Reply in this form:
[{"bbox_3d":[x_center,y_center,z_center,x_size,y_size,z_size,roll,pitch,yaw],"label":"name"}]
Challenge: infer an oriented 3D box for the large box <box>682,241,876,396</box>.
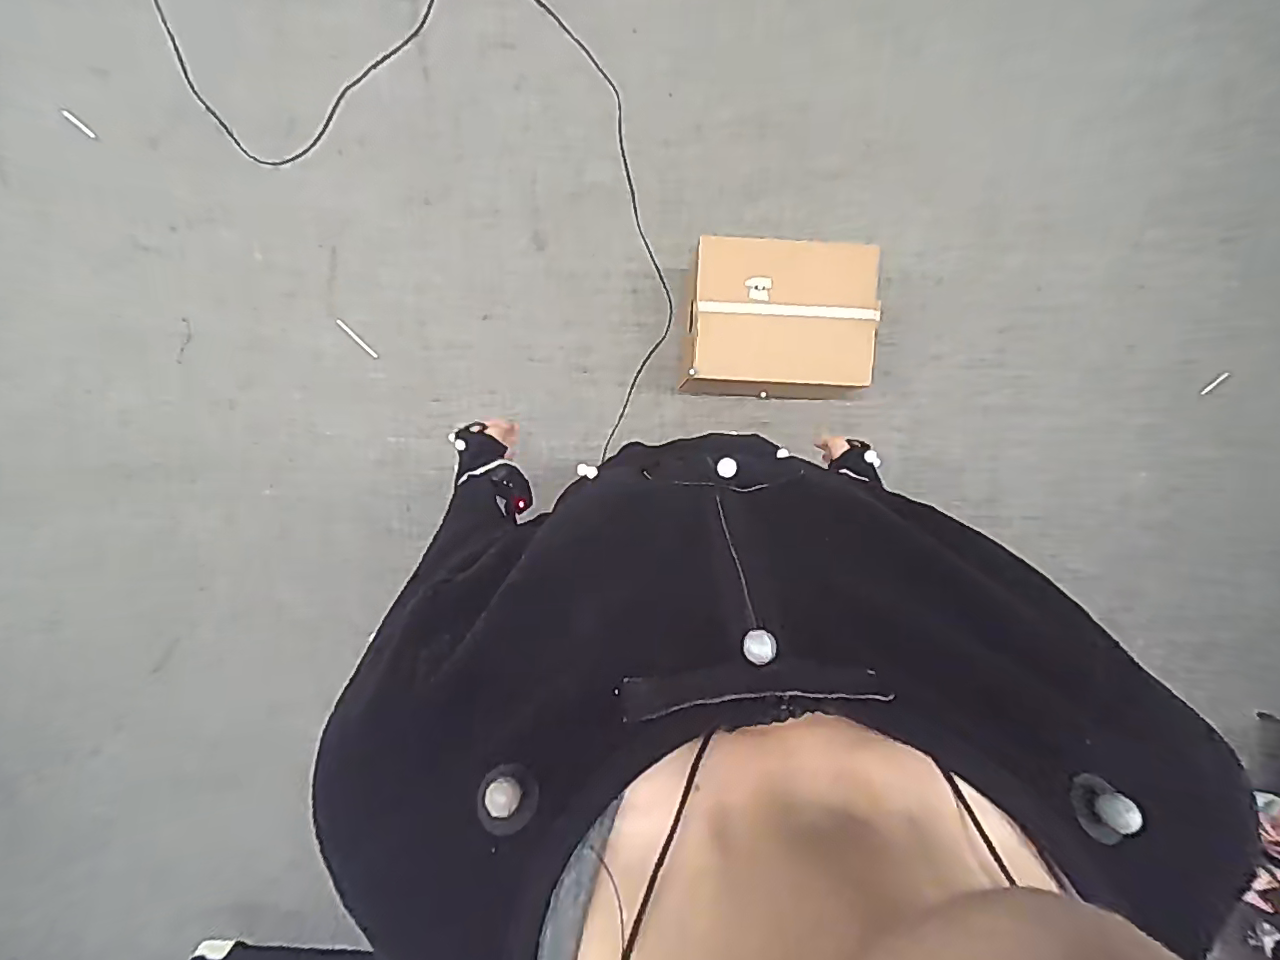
[{"bbox_3d":[0.322,-0.379,1.351,0.408,0.320,0.320,2,93,-1],"label":"large box"}]
